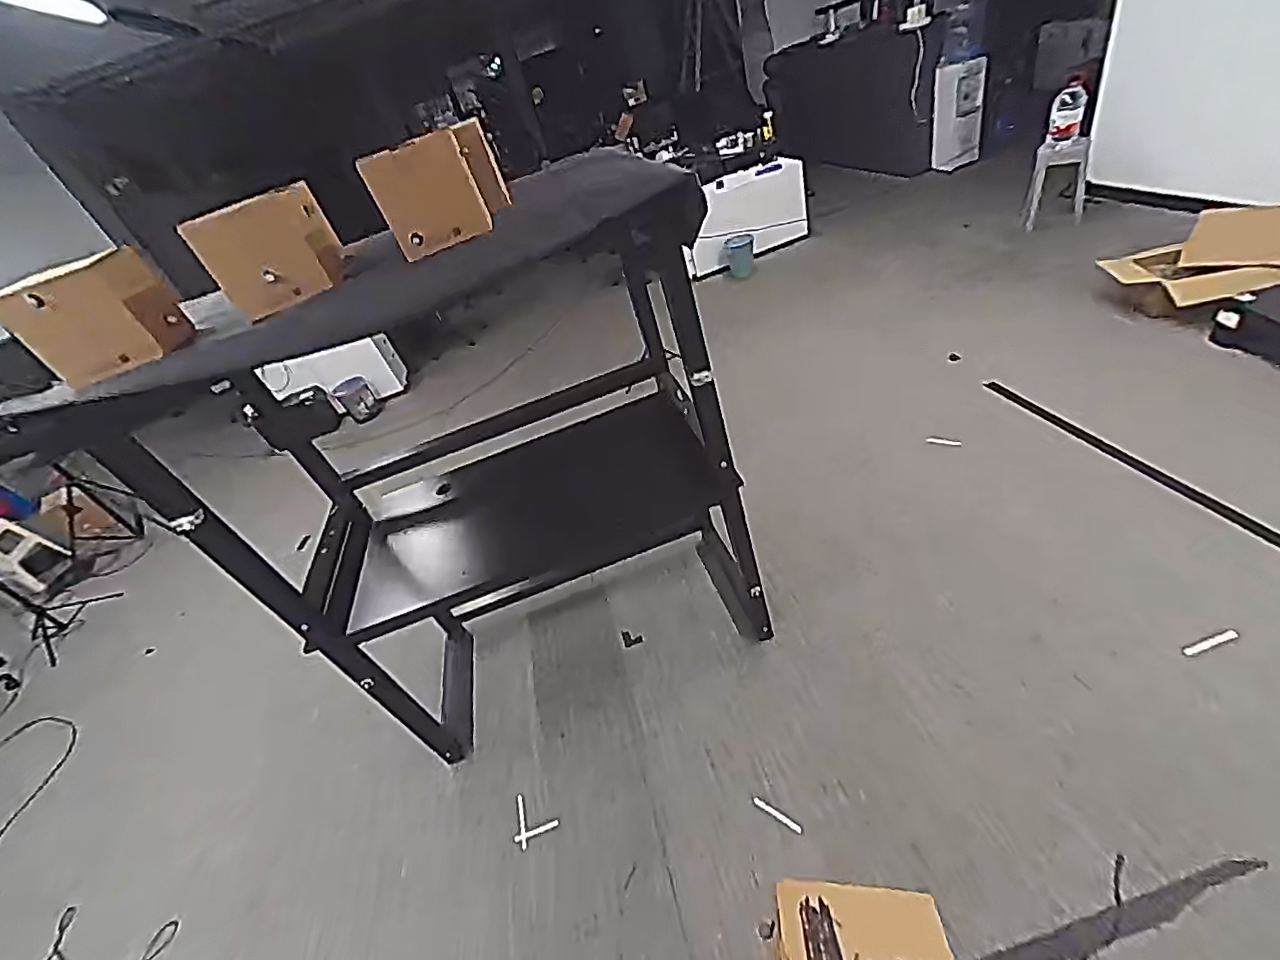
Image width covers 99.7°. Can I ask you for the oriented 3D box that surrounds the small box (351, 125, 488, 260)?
[{"bbox_3d":[-0.390,-0.524,0.991,0.168,0.176,0.179,-23,36,-2],"label":"small box"}]

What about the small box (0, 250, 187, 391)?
[{"bbox_3d":[-0.962,-0.282,0.959,0.168,0.176,0.179,-26,38,-7],"label":"small box"}]

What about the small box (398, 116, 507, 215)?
[{"bbox_3d":[-0.400,-0.664,1.173,0.168,0.176,0.179,-21,38,-1],"label":"small box"}]
